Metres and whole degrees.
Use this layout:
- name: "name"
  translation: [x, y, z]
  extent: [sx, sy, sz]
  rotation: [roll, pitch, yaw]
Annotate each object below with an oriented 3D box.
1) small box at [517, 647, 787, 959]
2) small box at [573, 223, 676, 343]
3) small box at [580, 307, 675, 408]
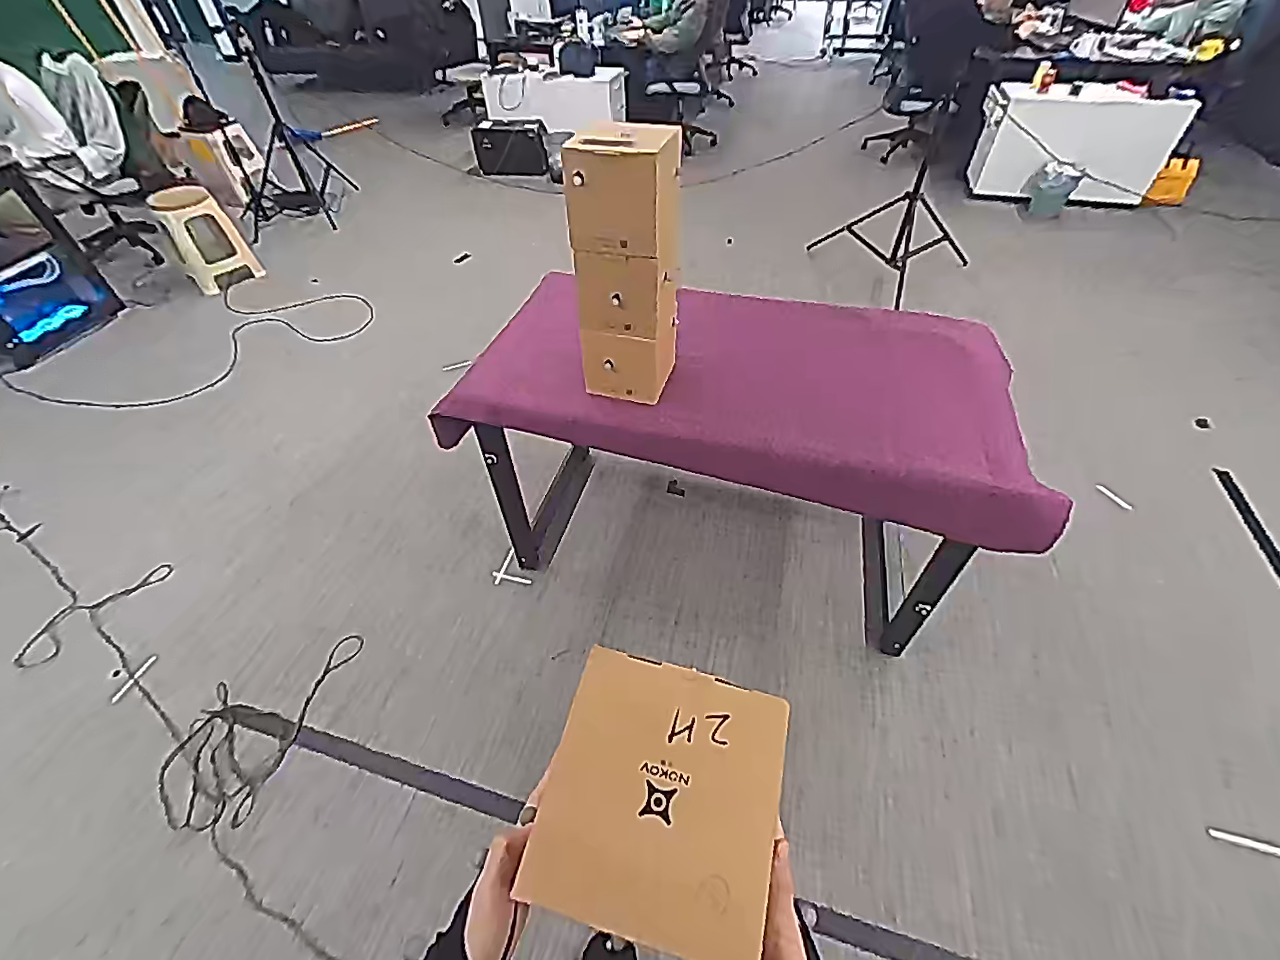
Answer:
- name: "small box"
  translation: [0.017, 0.271, 0.462]
  extent: [0.168, 0.176, 0.179]
  rotation: [13, 56, 8]
- name: "small box"
  translation: [-0.024, -0.401, 1.103]
  extent: [0.168, 0.176, 0.179]
  rotation: [10, 48, 10]
- name: "small box"
  translation: [-0.021, -0.284, 1.218]
  extent: [0.168, 0.176, 0.179]
  rotation: [12, 47, 12]
